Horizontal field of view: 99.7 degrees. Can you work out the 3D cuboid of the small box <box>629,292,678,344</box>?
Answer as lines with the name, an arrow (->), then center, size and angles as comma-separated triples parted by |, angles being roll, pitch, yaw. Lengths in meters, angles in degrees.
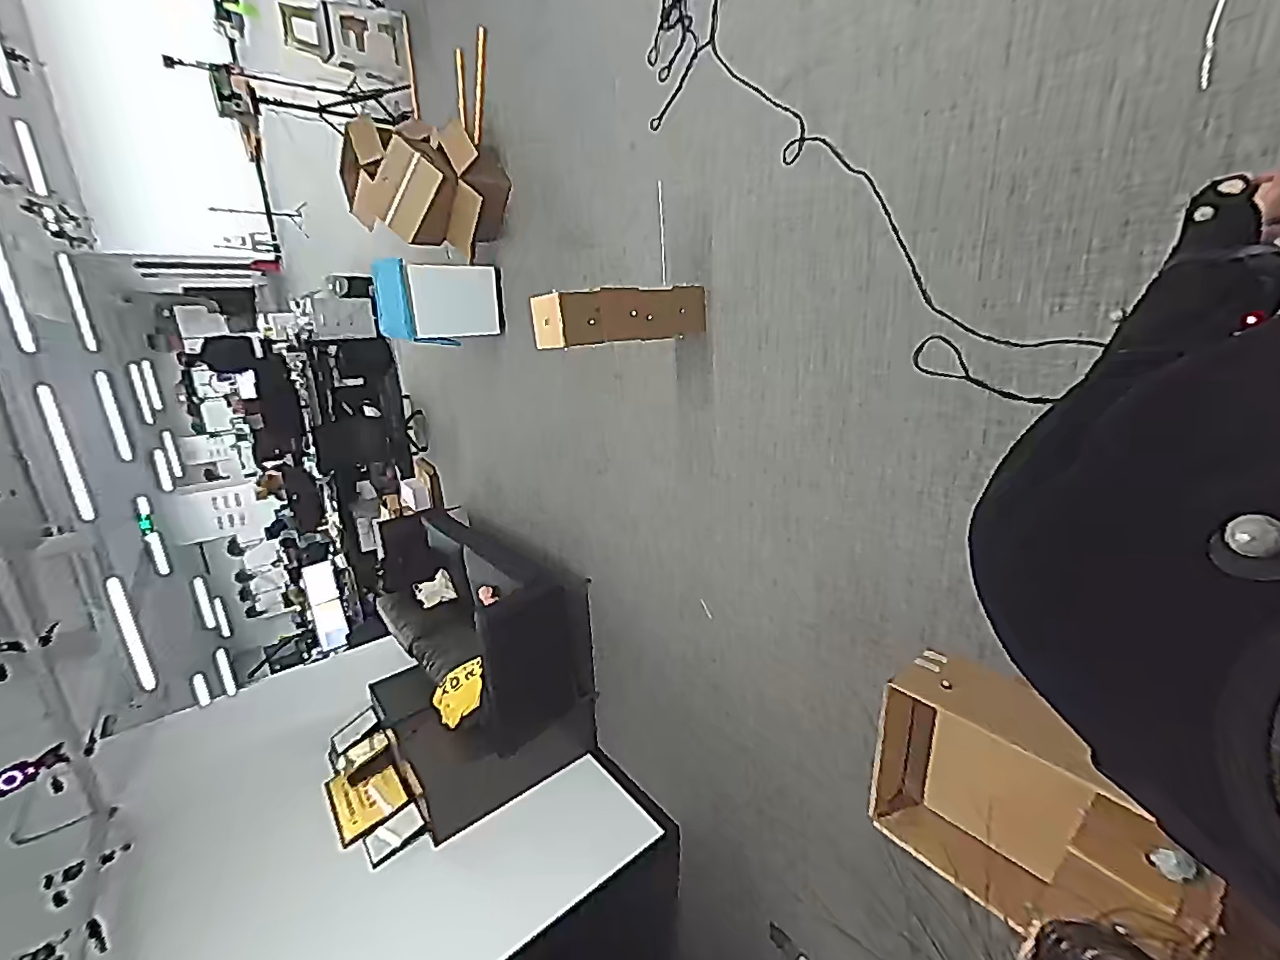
small box -> 0.026, -0.596, 1.991 | 0.168, 0.176, 0.179 | 16, 114, 49

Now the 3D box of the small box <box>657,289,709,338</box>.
small box -> 0.154, -0.640, 2.083 | 0.168, 0.176, 0.179 | 16, 114, 50

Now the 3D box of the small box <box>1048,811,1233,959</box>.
small box -> 0.829, 0.696, 0.901 | 0.179, 0.176, 0.168 | 21, 118, 49

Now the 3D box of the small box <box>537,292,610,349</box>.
small box -> -0.219, -0.524, 1.786 | 0.179, 0.176, 0.168 | 12, 112, 49

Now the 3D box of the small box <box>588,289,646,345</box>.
small box -> -0.093, -0.564, 1.882 | 0.168, 0.176, 0.179 | 13, 112, 51
